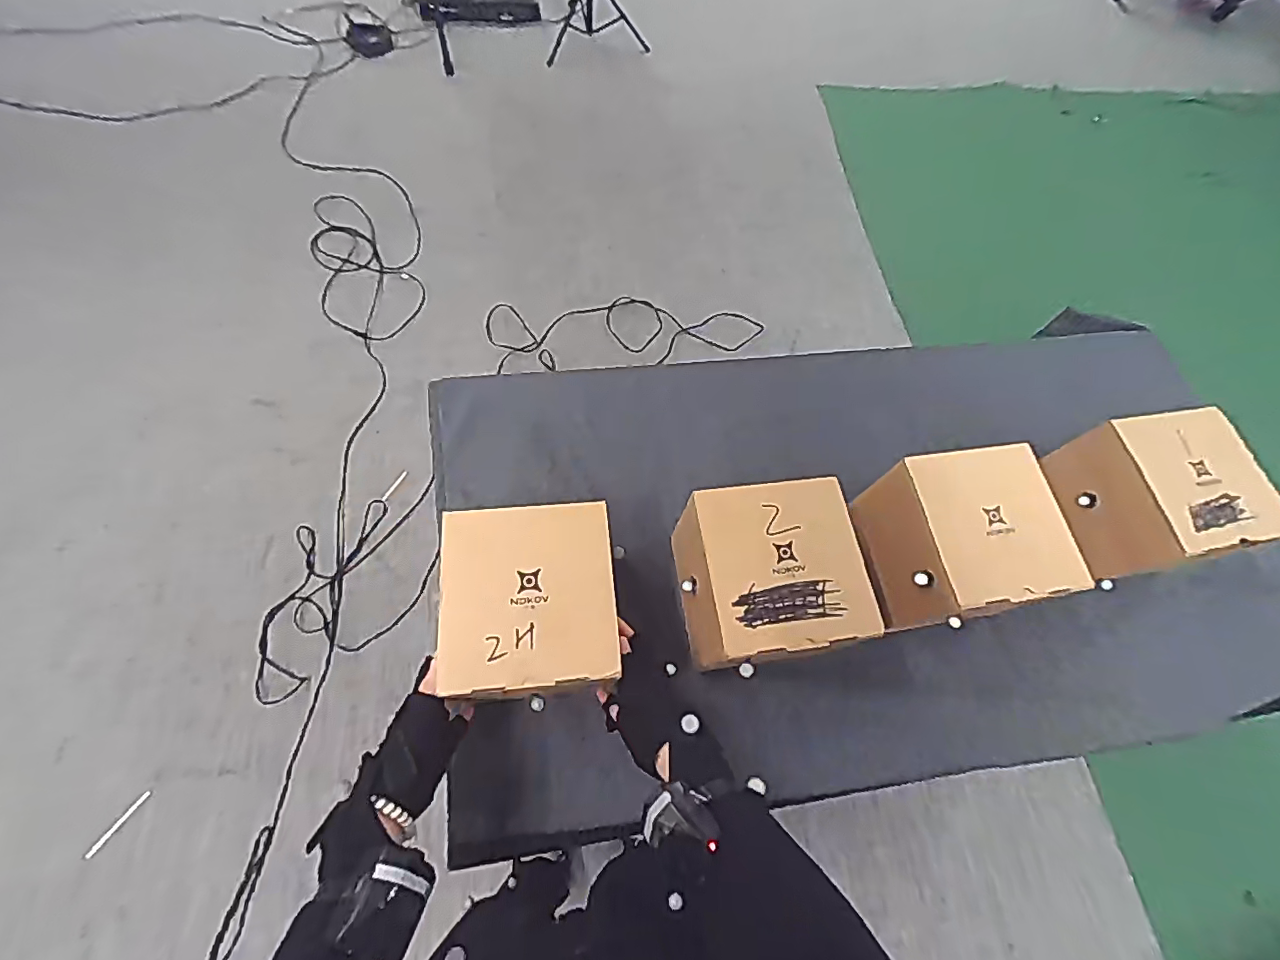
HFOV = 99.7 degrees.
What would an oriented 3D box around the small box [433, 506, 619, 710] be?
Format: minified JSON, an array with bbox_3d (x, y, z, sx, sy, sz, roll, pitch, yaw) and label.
[{"bbox_3d":[-0.115,0.143,0.587,0.168,0.176,0.179,-3,64,-7],"label":"small box"}]

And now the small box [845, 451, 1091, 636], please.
[{"bbox_3d":[0.383,0.084,0.672,0.168,0.176,0.179,-7,68,-9],"label":"small box"}]

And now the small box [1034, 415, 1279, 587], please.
[{"bbox_3d":[0.658,0.037,0.718,0.168,0.176,0.179,-7,66,-9],"label":"small box"}]
